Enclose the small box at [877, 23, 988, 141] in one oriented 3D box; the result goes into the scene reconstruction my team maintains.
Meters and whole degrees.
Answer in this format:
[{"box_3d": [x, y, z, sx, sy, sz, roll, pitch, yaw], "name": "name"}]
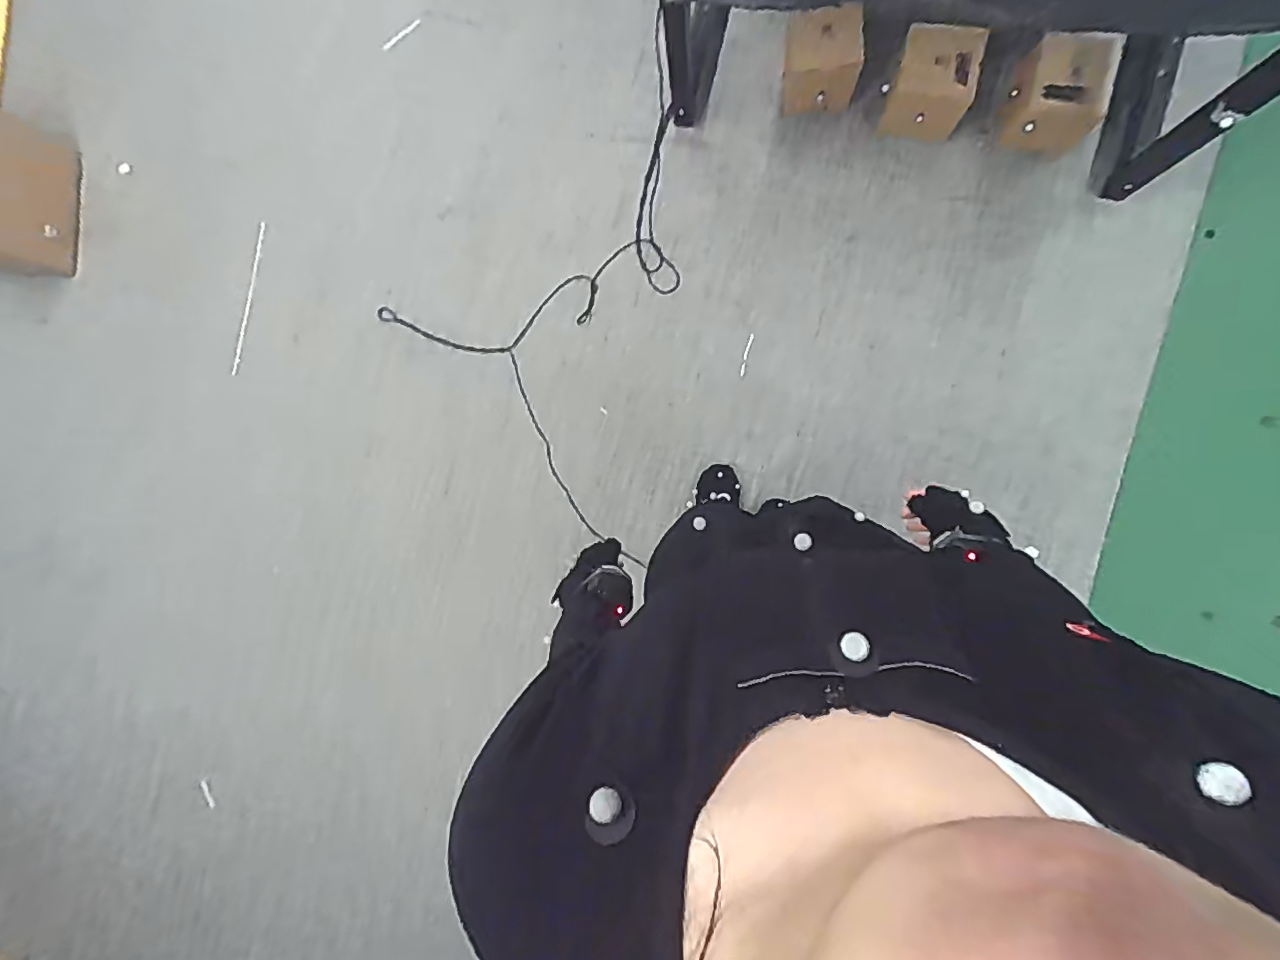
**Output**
[{"box_3d": [0.714, -0.975, 1.338, 0.179, 0.176, 0.168, 12, 92, 8], "name": "small box"}]
